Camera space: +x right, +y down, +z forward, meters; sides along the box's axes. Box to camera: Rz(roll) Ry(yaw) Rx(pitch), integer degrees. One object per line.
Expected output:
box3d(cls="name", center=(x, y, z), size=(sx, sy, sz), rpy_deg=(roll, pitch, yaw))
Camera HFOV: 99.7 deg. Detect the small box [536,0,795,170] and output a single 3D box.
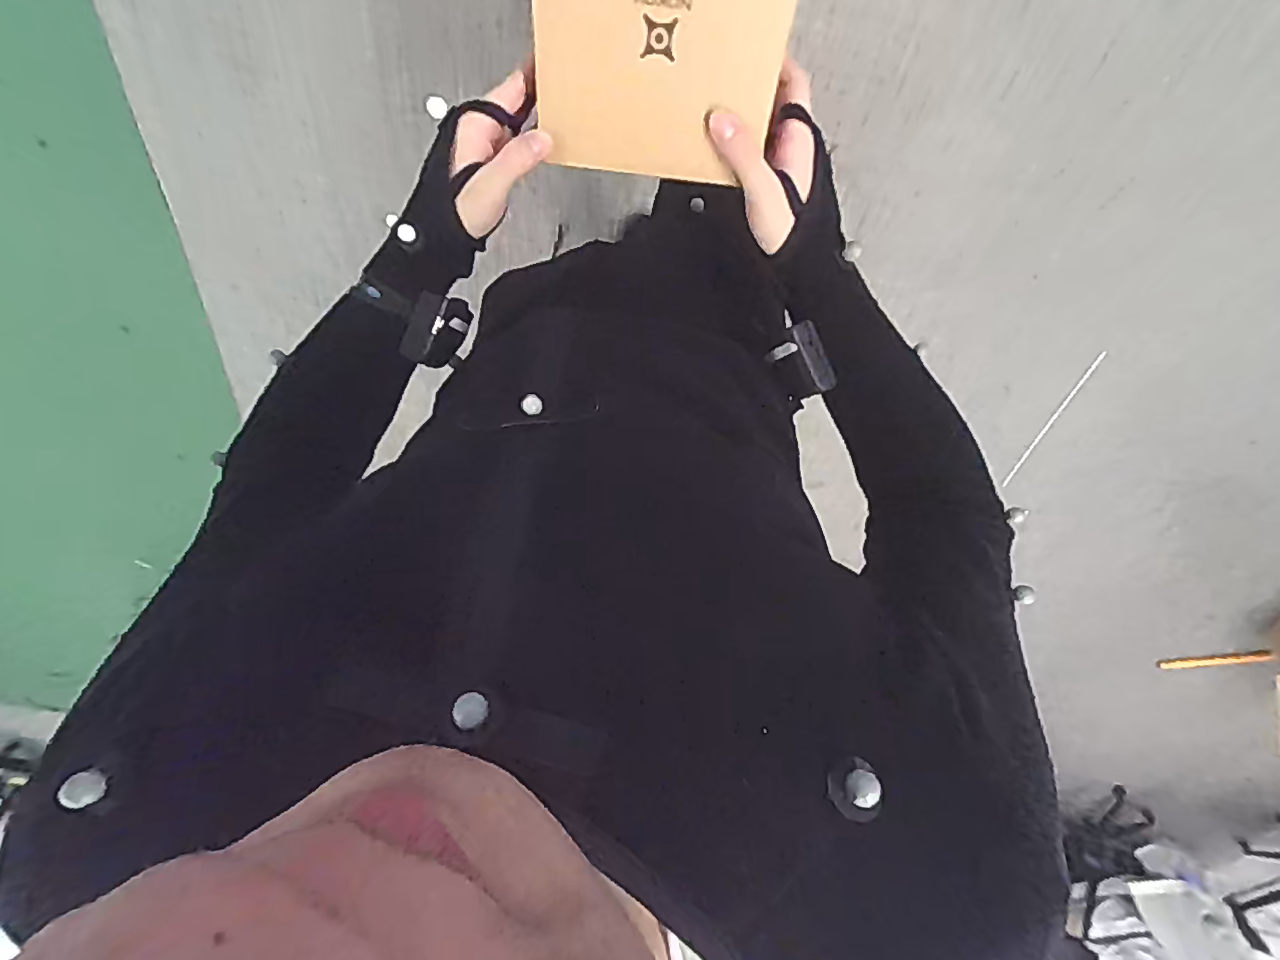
box3d(cls="small box", center=(0.021, -0.358, 0.393), size=(0.168, 0.176, 0.179), rpy_deg=(5, 138, -1))
